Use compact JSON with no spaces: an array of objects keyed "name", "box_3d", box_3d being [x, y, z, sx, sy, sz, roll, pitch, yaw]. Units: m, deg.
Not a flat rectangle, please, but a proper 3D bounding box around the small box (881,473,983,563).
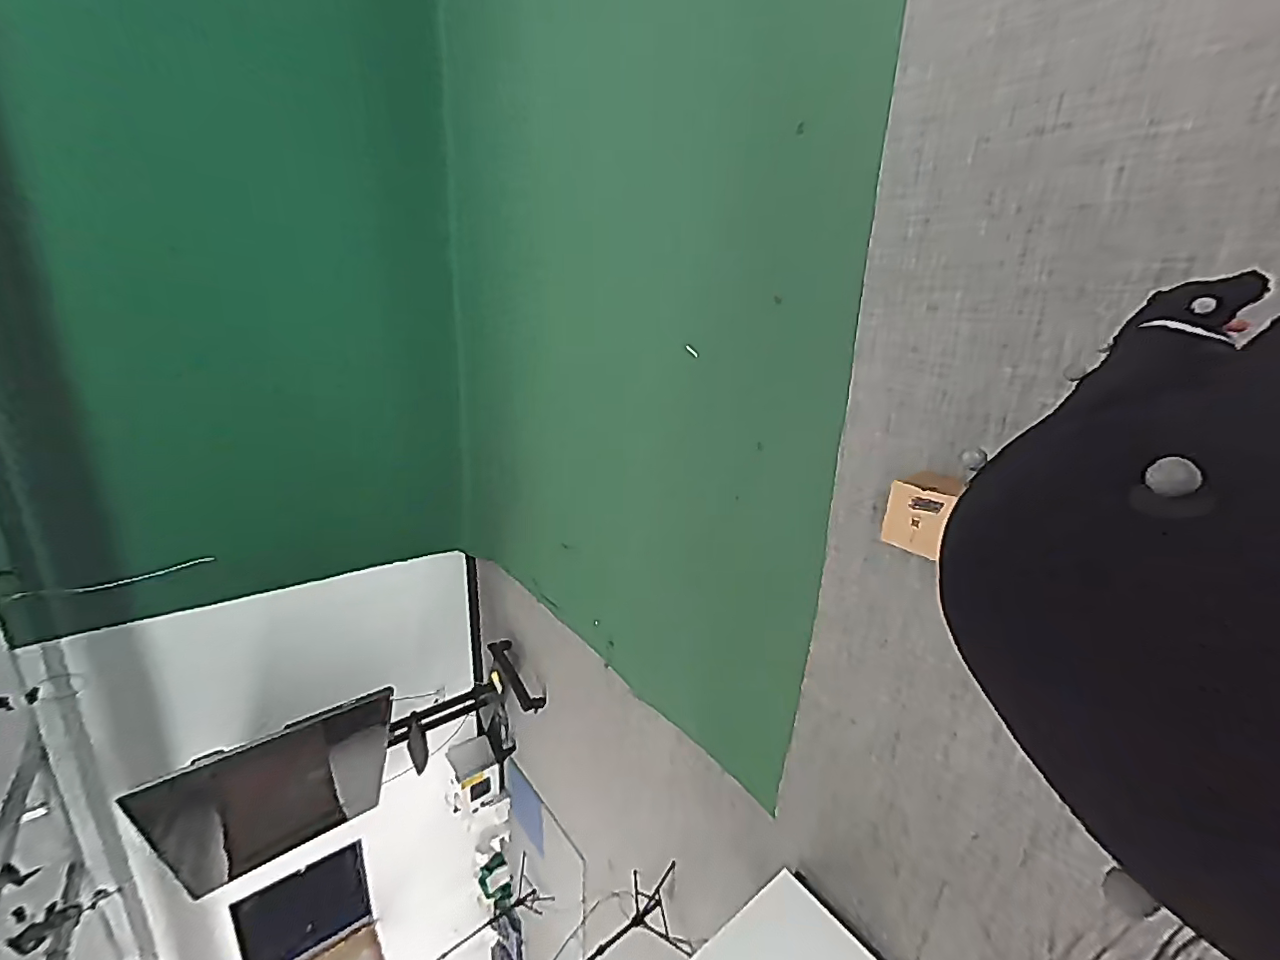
[{"name":"small box","box_3d":[0.763,0.089,1.409,0.168,0.176,0.179,24,117,47]}]
